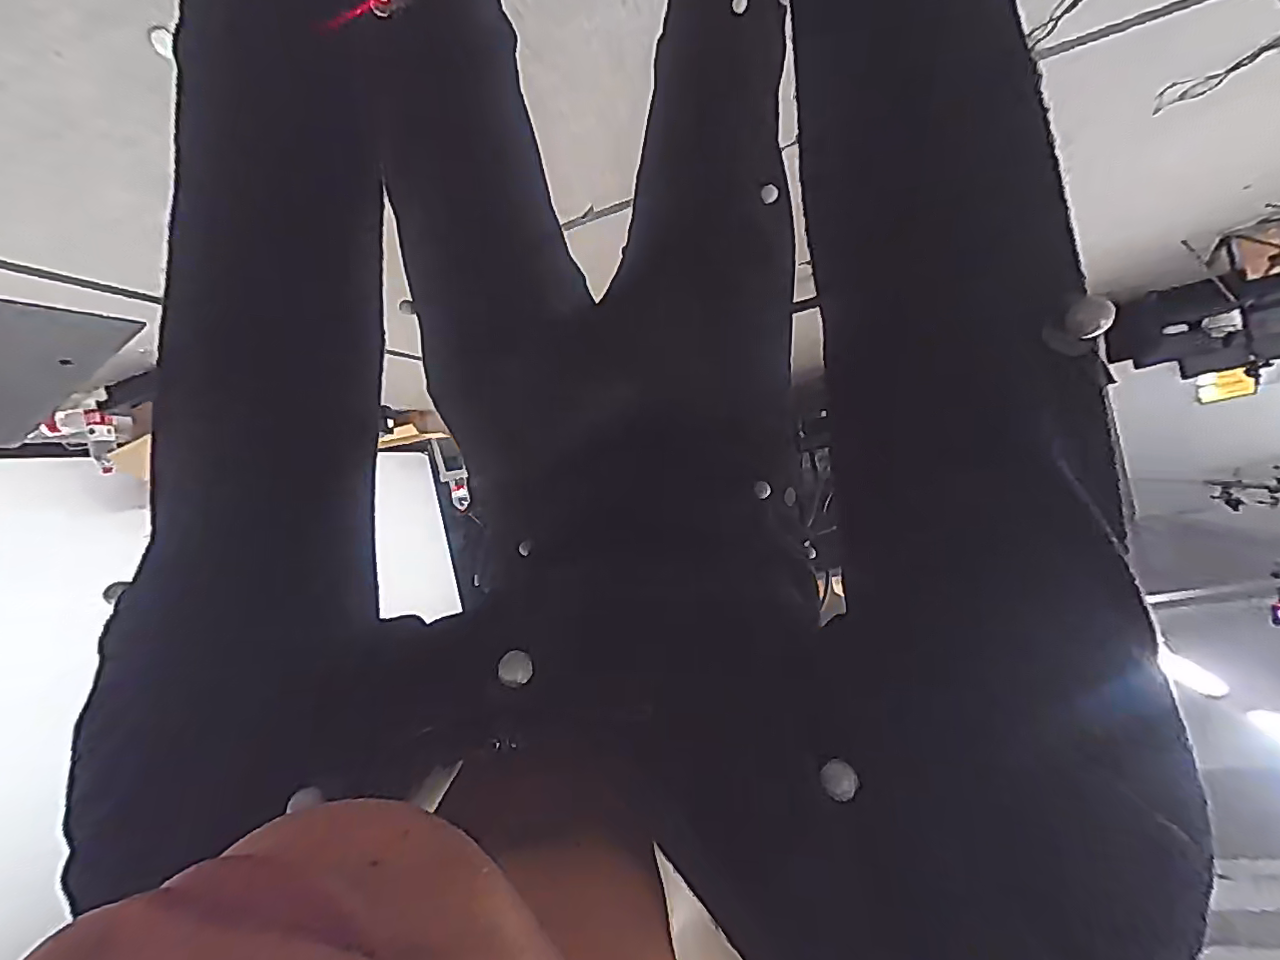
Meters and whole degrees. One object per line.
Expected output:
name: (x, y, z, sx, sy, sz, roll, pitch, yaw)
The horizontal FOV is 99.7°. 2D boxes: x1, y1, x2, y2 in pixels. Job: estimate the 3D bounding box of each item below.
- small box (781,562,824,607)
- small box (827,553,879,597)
small box: (0.807, 0.516, 2.697, 0.168, 0.176, 0.179, -13, 180, 10)
small box: (1.052, 0.463, 2.682, 0.179, 0.176, 0.168, -12, 180, 0)
